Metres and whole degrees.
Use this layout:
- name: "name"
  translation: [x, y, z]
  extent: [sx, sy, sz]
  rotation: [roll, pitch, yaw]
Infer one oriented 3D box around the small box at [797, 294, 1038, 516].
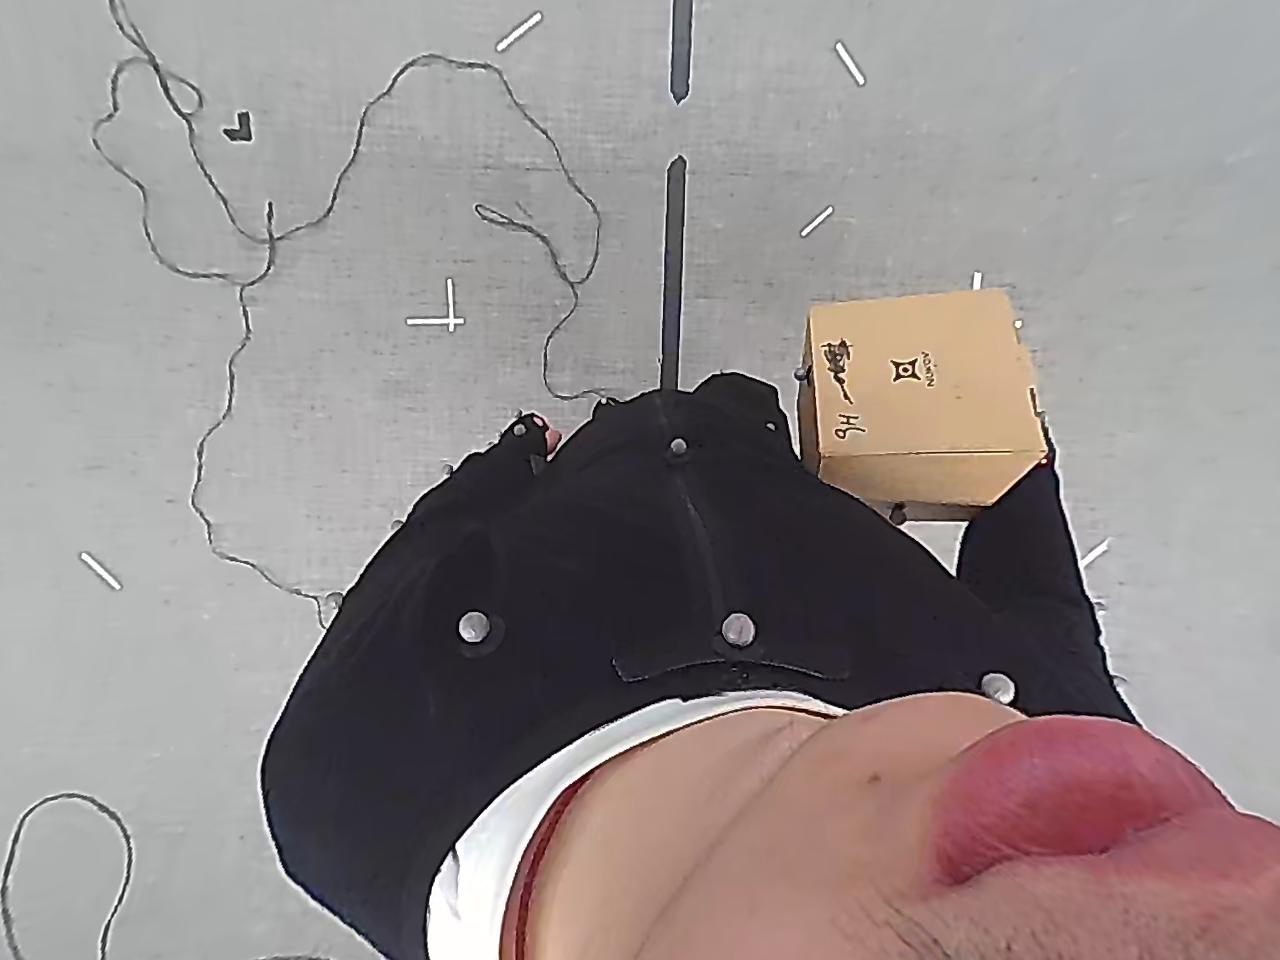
- name: "small box"
  translation: [0.265, -0.067, 0.564]
  extent: [0.179, 0.176, 0.168]
  rotation: [-1, 65, 11]
